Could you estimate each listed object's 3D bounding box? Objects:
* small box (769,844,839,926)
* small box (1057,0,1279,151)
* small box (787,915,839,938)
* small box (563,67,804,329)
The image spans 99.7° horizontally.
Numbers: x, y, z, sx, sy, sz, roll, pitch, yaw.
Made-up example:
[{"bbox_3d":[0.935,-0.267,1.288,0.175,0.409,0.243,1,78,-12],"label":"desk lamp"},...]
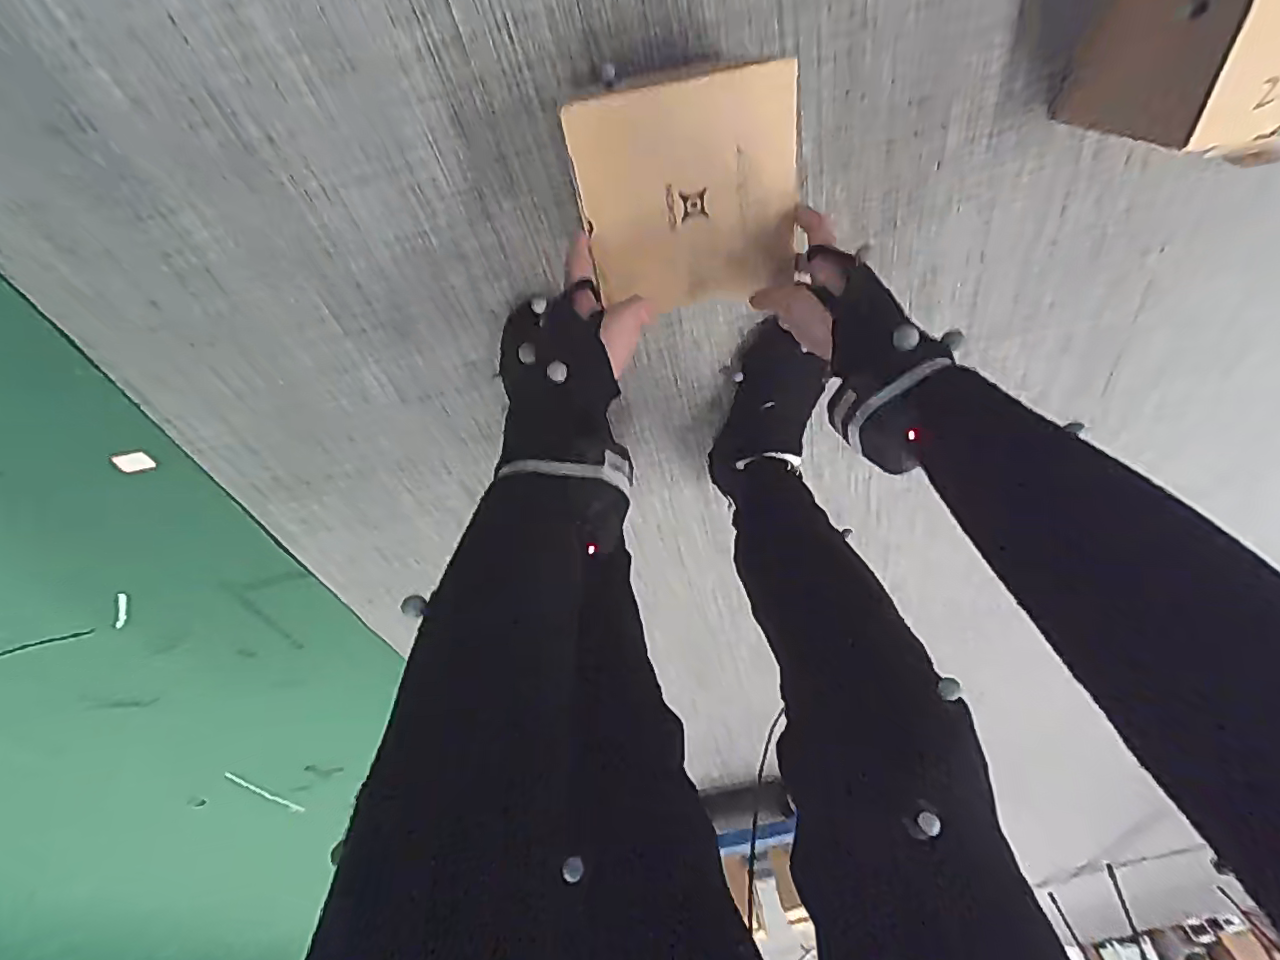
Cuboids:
[{"bbox_3d":[0.521,1.285,1.721,0.168,0.176,0.179,-16,131,5],"label":"small box"},{"bbox_3d":[0.524,-0.408,0.473,0.168,0.176,0.179,-4,133,-2],"label":"small box"},{"bbox_3d":[0.582,1.471,1.896,0.168,0.176,0.179,-13,132,3],"label":"small box"},{"bbox_3d":[0.035,-0.260,0.494,0.179,0.176,0.168,-11,129,1],"label":"small box"}]
